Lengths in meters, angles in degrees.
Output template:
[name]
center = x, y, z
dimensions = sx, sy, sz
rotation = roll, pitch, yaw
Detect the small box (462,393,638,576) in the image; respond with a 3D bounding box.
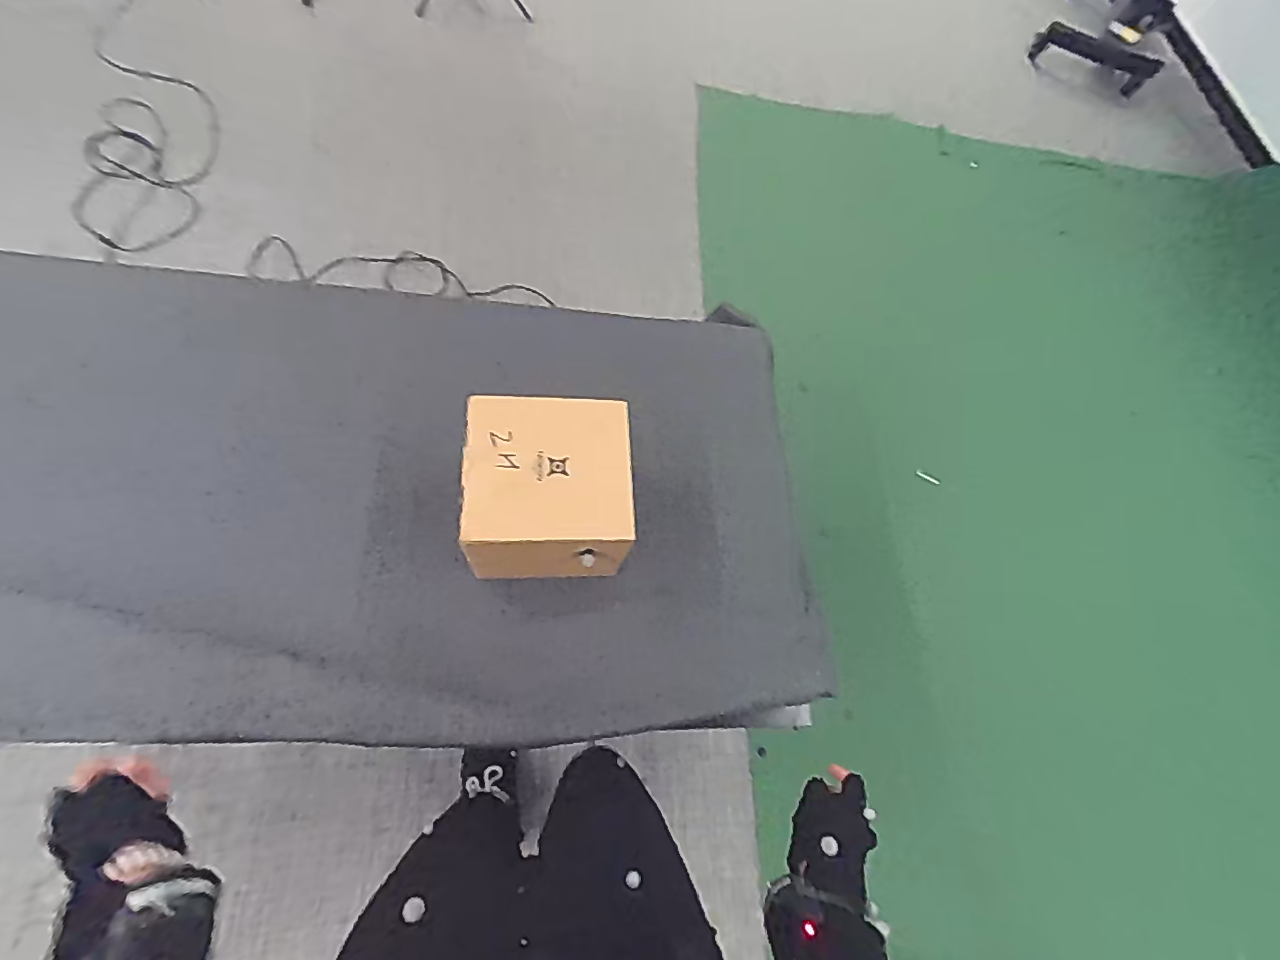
[small box]
center = -0.106, 0.014, 0.641
dimensions = 0.179, 0.176, 0.168
rotation = 1, 67, -10
